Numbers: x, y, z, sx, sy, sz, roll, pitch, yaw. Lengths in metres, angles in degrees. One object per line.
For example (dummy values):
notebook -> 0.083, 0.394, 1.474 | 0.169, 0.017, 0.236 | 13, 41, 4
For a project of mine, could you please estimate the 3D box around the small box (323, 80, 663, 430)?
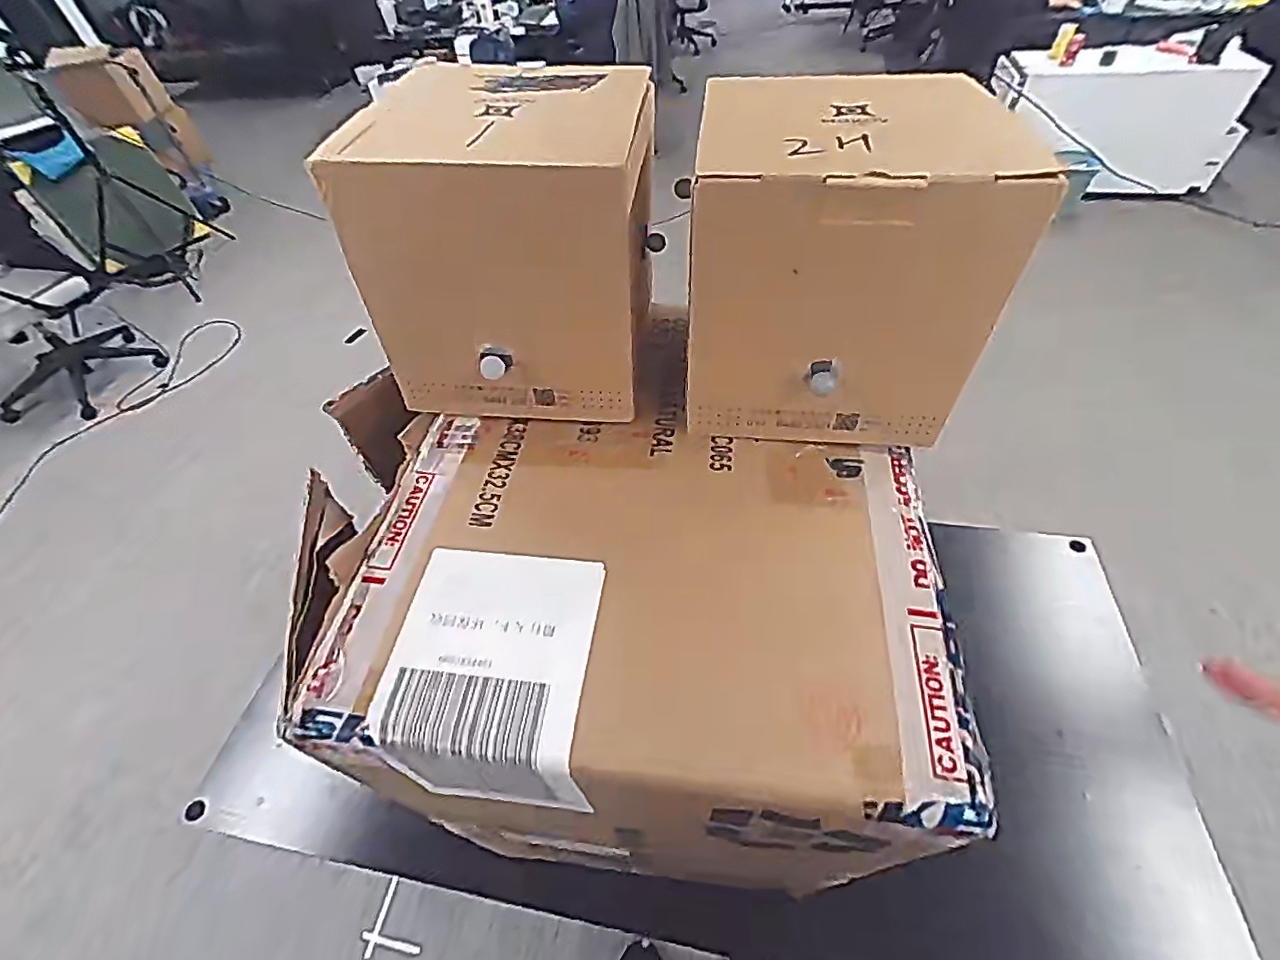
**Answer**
small box -> -0.074, -0.159, 0.383 | 0.168, 0.176, 0.179 | 4, 49, 4

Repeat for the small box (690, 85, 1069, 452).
small box -> 0.123, -0.142, 0.361 | 0.168, 0.176, 0.179 | 4, 49, 7
